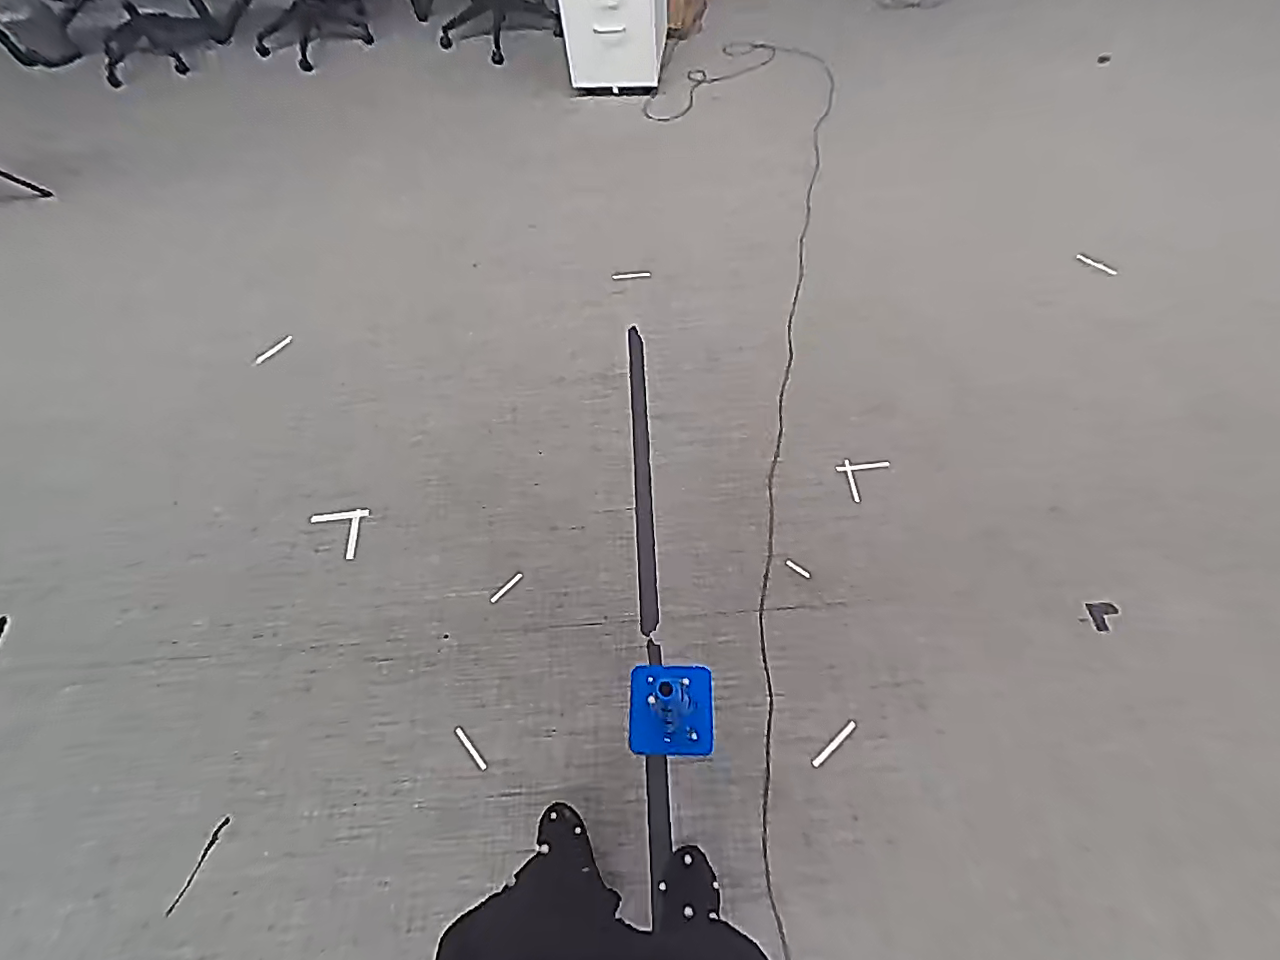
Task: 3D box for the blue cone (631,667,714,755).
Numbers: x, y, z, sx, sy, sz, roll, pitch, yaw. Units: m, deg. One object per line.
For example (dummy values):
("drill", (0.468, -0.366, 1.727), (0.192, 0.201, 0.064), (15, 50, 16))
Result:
("blue cone", (0.065, 0.466, 1.137), (0.193, 0.380, 0.192), (-2, 61, 3))
